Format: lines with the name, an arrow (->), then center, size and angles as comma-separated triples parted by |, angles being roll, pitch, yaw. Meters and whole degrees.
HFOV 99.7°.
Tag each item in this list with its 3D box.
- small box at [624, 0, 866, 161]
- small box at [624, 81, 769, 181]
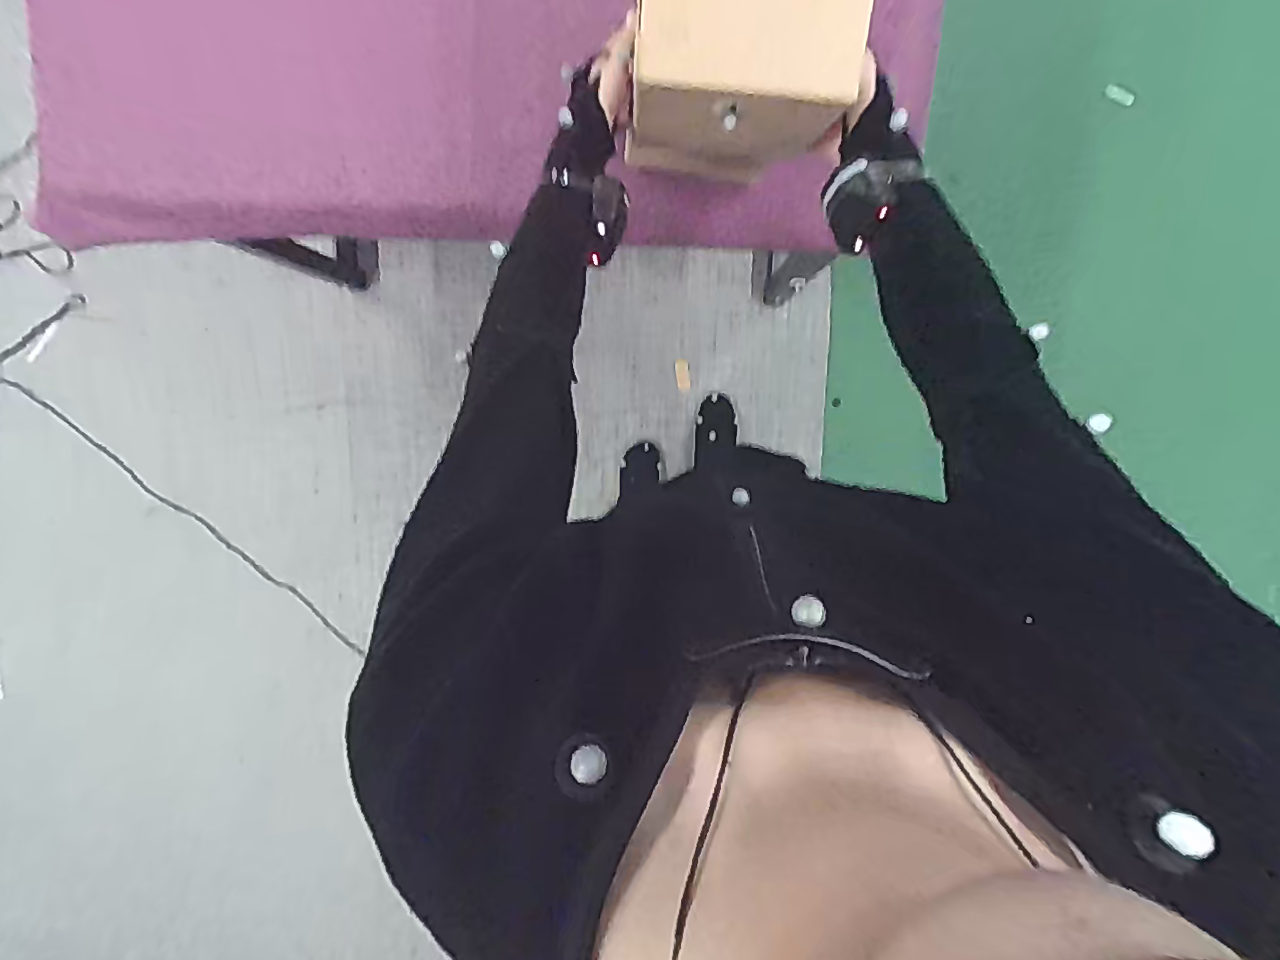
small box -> 0.082, -0.397, 0.469 | 0.179, 0.176, 0.168 | 5, 106, -2
small box -> 0.080, -0.462, 0.620 | 0.179, 0.176, 0.168 | 8, 105, -3
